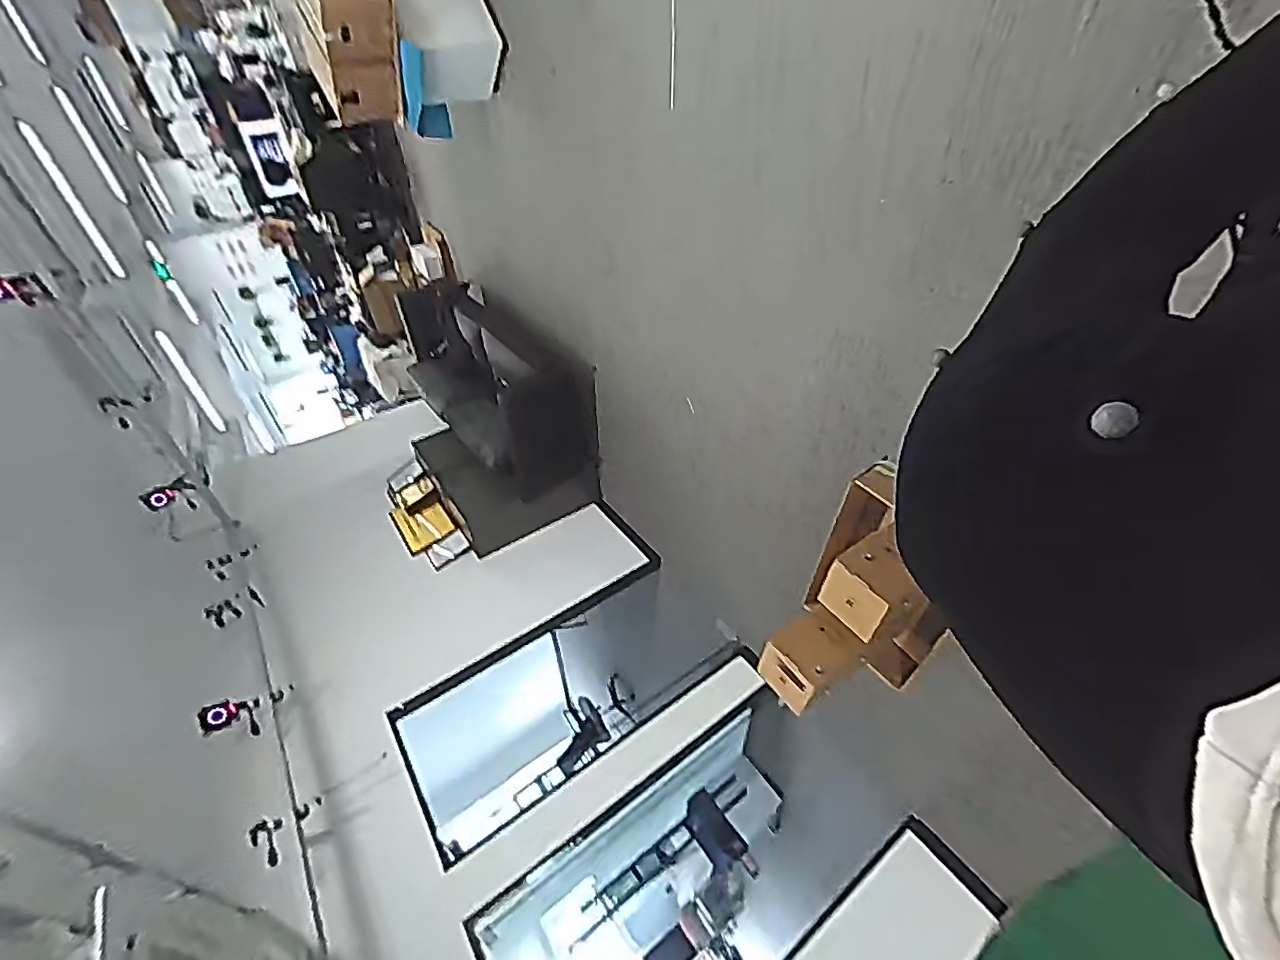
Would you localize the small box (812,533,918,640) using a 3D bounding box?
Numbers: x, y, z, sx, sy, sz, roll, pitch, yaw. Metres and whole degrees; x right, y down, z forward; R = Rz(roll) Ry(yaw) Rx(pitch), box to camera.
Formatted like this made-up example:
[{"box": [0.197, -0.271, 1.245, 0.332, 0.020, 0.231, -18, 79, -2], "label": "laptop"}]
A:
[{"box": [0.580, 0.268, 1.395, 0.168, 0.176, 0.179, 45, 149, 35], "label": "small box"}]

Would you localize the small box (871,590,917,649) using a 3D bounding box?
[{"box": [0.704, 0.384, 1.647, 0.168, 0.176, 0.179, 44, 146, 35], "label": "small box"}]

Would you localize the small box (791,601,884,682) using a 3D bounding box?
[{"box": [0.573, 0.444, 1.571, 0.168, 0.176, 0.179, 44, 146, 36], "label": "small box"}]
